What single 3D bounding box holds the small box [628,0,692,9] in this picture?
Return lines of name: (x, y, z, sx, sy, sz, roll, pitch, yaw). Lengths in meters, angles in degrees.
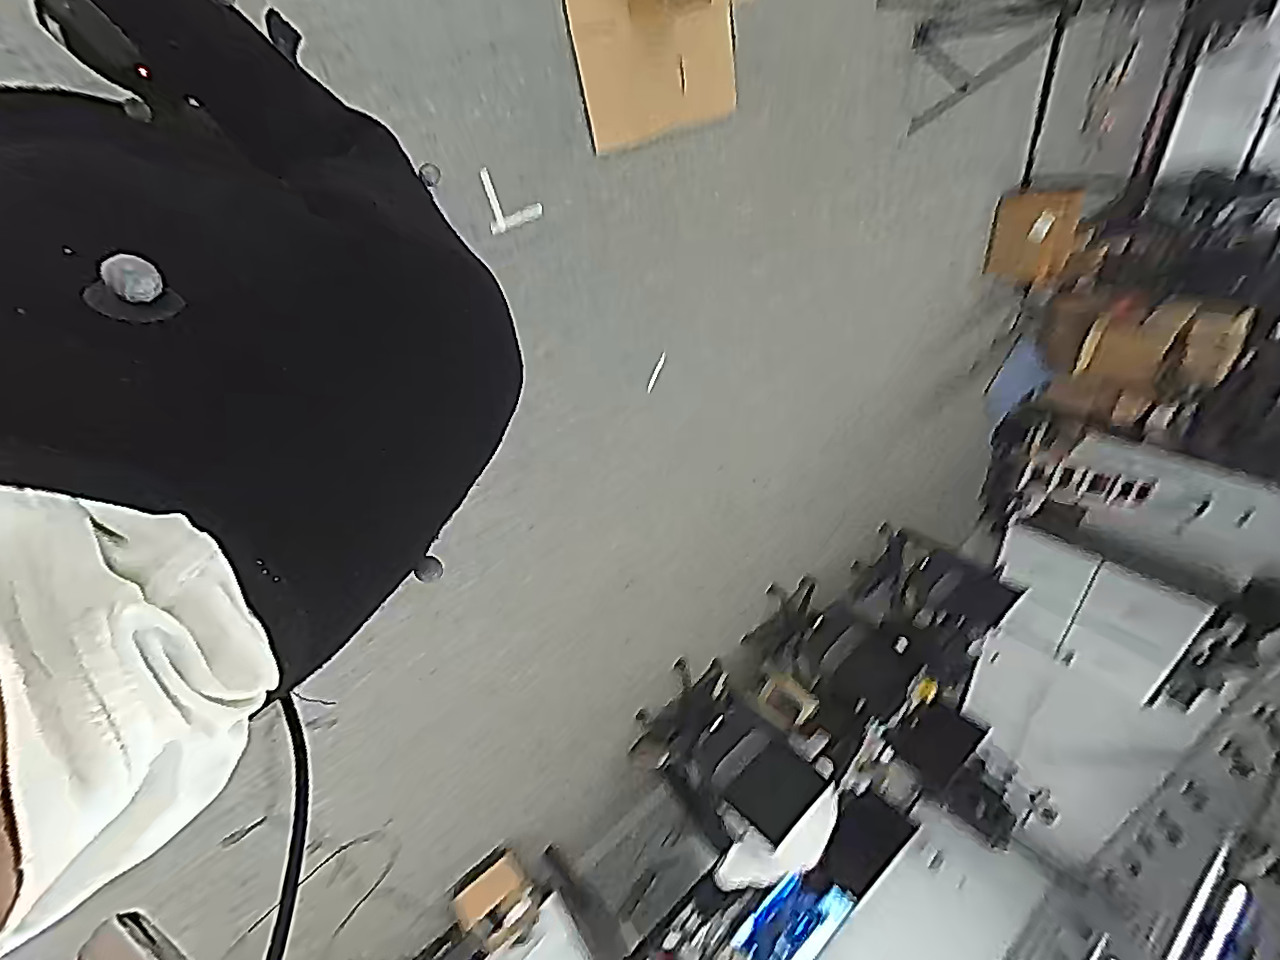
small box: (0.075, -1.404, 1.467, 0.179, 0.176, 0.168, -30, 130, -25)
